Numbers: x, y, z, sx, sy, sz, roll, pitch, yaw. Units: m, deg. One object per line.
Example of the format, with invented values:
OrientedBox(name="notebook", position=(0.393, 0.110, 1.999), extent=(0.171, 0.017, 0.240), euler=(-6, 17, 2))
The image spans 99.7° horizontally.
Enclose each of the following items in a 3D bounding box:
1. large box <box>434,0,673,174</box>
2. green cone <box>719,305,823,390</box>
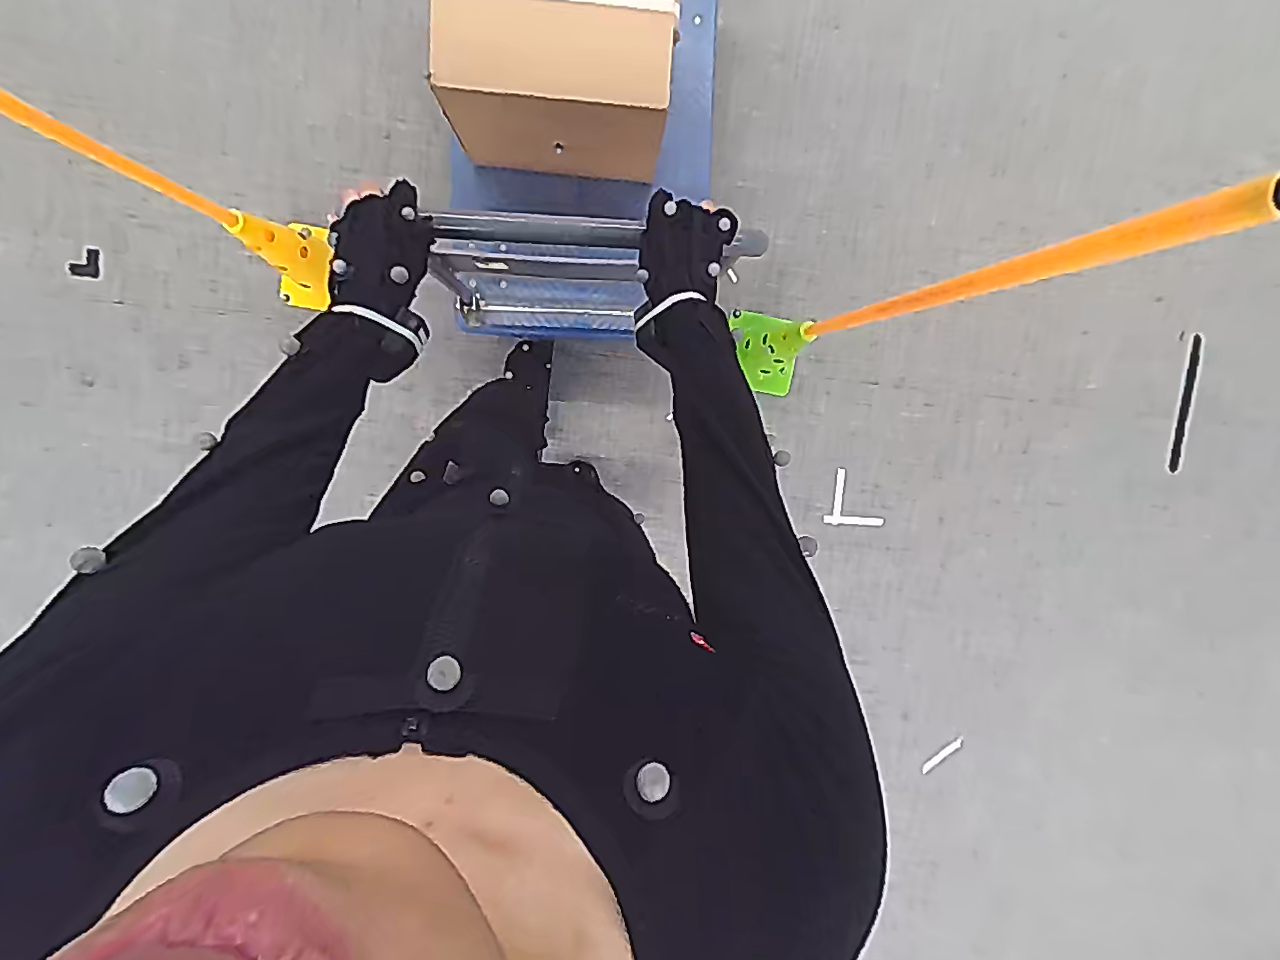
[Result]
OrientedBox(name="large box", position=(-0.149, -0.828, 1.052), extent=(0.408, 0.320, 0.320), euler=(3, 98, -3))
OrientedBox(name="green cone", position=(0.338, -0.336, 1.288), extent=(0.202, 0.368, 0.200), euler=(10, 96, -6))
